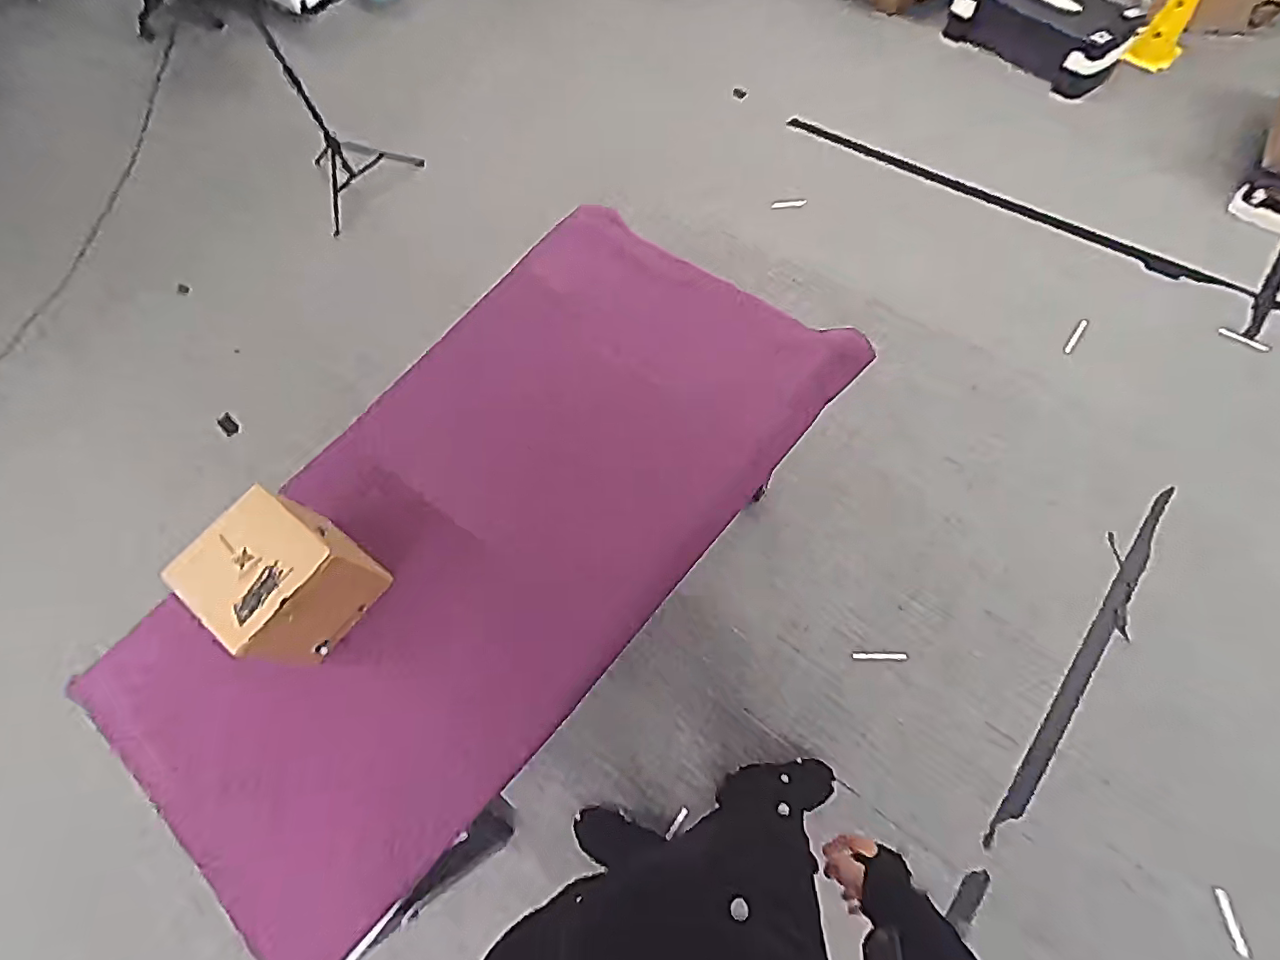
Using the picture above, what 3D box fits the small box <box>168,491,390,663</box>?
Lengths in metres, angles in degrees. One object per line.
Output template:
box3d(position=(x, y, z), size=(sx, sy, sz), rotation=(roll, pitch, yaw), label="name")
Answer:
box3d(position=(-0.513, 0.151, 0.796), size=(0.179, 0.176, 0.168), rotation=(34, 73, 18), label="small box")
